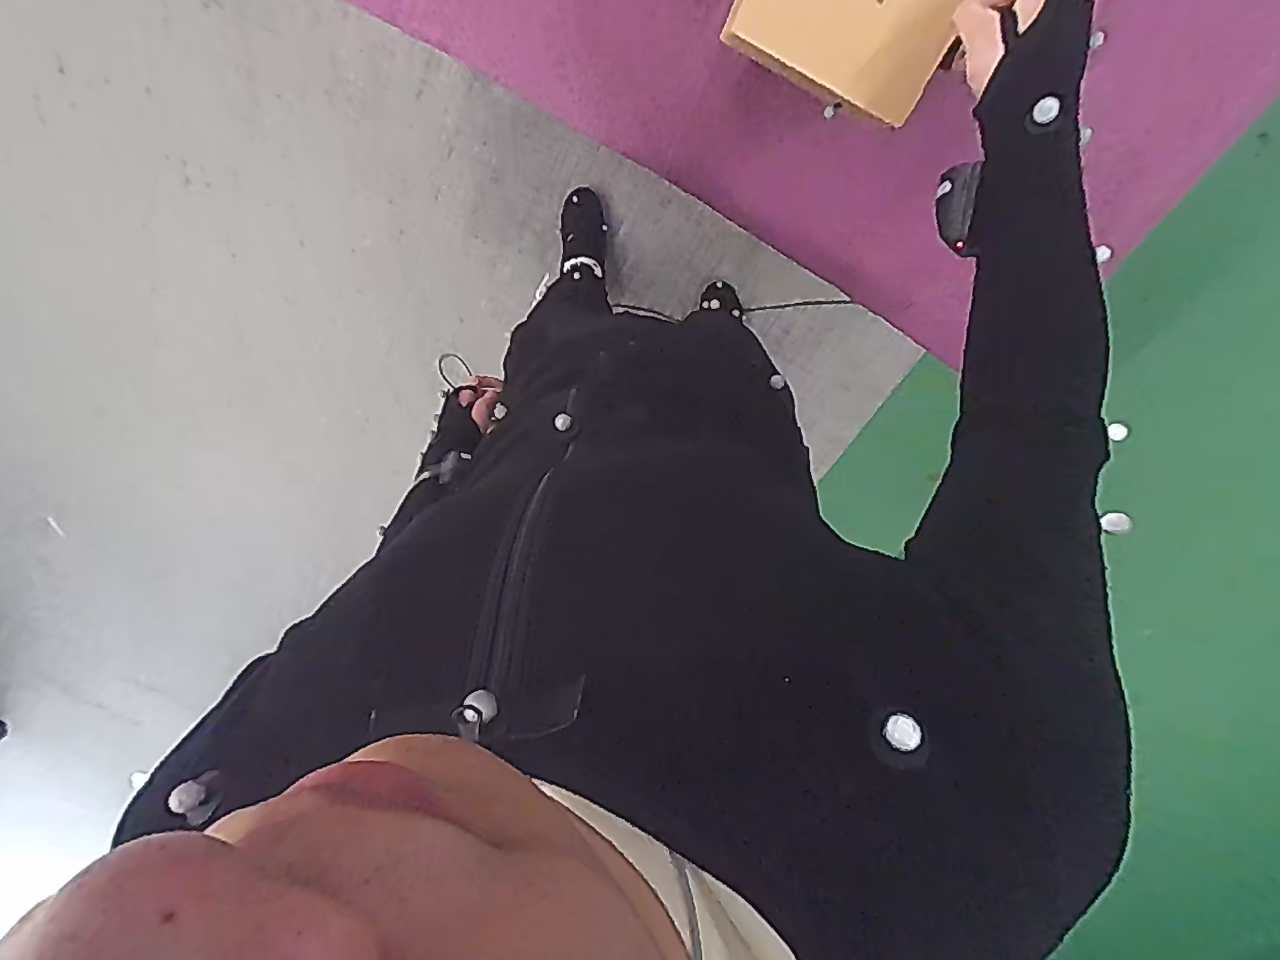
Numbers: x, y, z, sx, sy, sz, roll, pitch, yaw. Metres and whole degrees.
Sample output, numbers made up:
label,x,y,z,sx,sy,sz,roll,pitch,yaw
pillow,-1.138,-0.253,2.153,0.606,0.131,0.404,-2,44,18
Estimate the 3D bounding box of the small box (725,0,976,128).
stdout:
label,x,y,z,sx,sy,sz,roll,pitch,yaw
small box,0.194,-0.460,0.495,0.179,0.176,0.168,22,126,-12
